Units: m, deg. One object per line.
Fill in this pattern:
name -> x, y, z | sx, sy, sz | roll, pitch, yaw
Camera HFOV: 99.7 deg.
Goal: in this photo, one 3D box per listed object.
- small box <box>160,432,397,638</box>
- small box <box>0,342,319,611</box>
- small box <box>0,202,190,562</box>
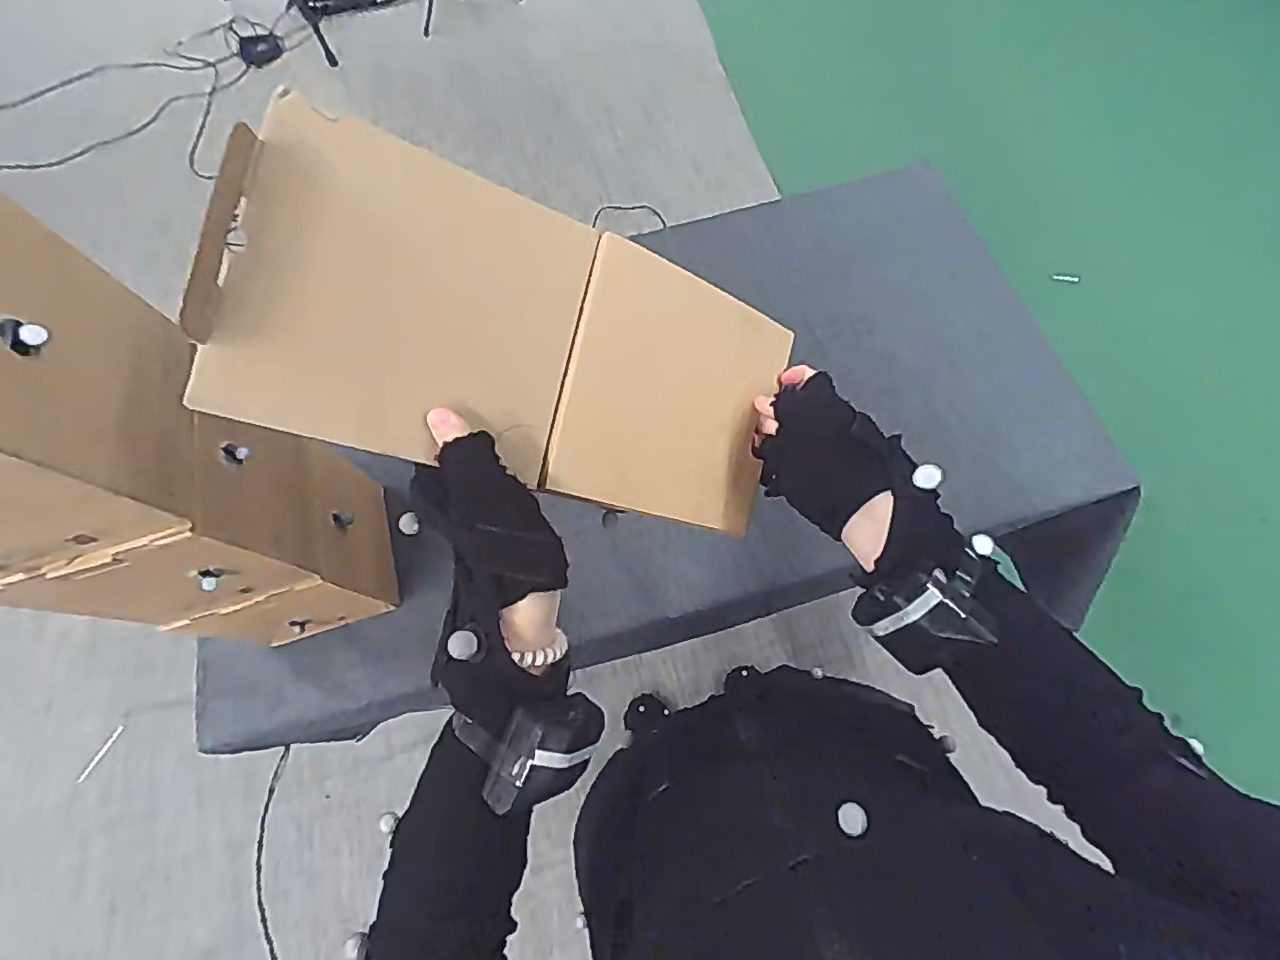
small box -> -0.412, 0.073, 0.640 | 0.168, 0.176, 0.179 | -17, 69, -4
small box -> -0.419, 0.011, 0.489 | 0.168, 0.176, 0.179 | -16, 69, -4
small box -> -0.428, -0.055, 0.340 | 0.168, 0.176, 0.179 | -17, 69, -5
